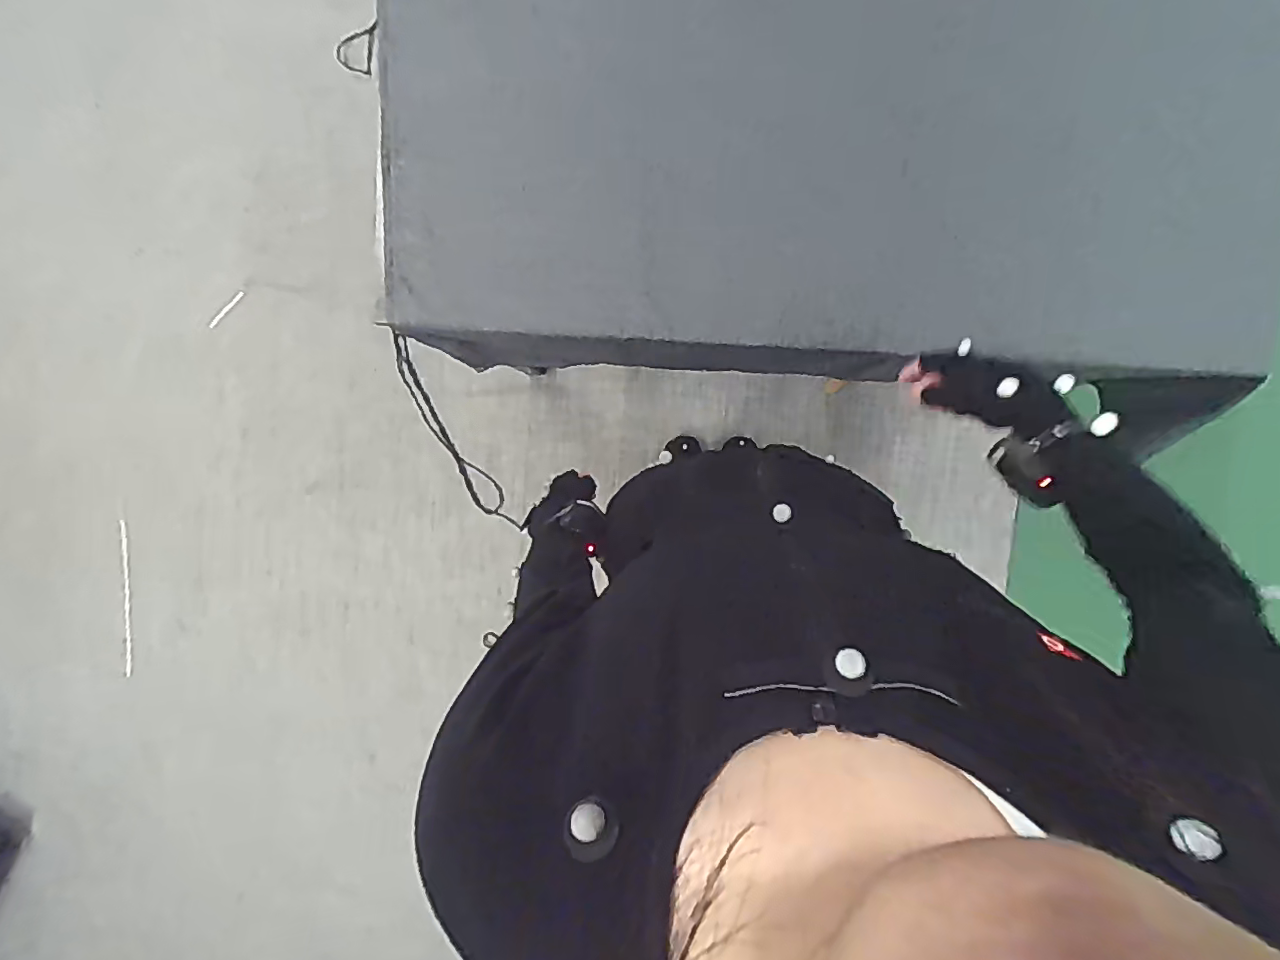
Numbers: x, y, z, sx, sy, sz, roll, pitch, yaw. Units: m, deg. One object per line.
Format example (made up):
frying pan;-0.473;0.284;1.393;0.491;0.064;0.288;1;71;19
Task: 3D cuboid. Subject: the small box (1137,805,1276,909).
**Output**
small box;1.473;0.986;1.415;0.179;0.176;0.168;5;96;4

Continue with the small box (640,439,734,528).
small box;0.119;0.005;1.430;0.179;0.176;0.168;44;108;16

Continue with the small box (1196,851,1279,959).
small box;1.462;1.001;1.252;0.179;0.176;0.168;4;96;3
